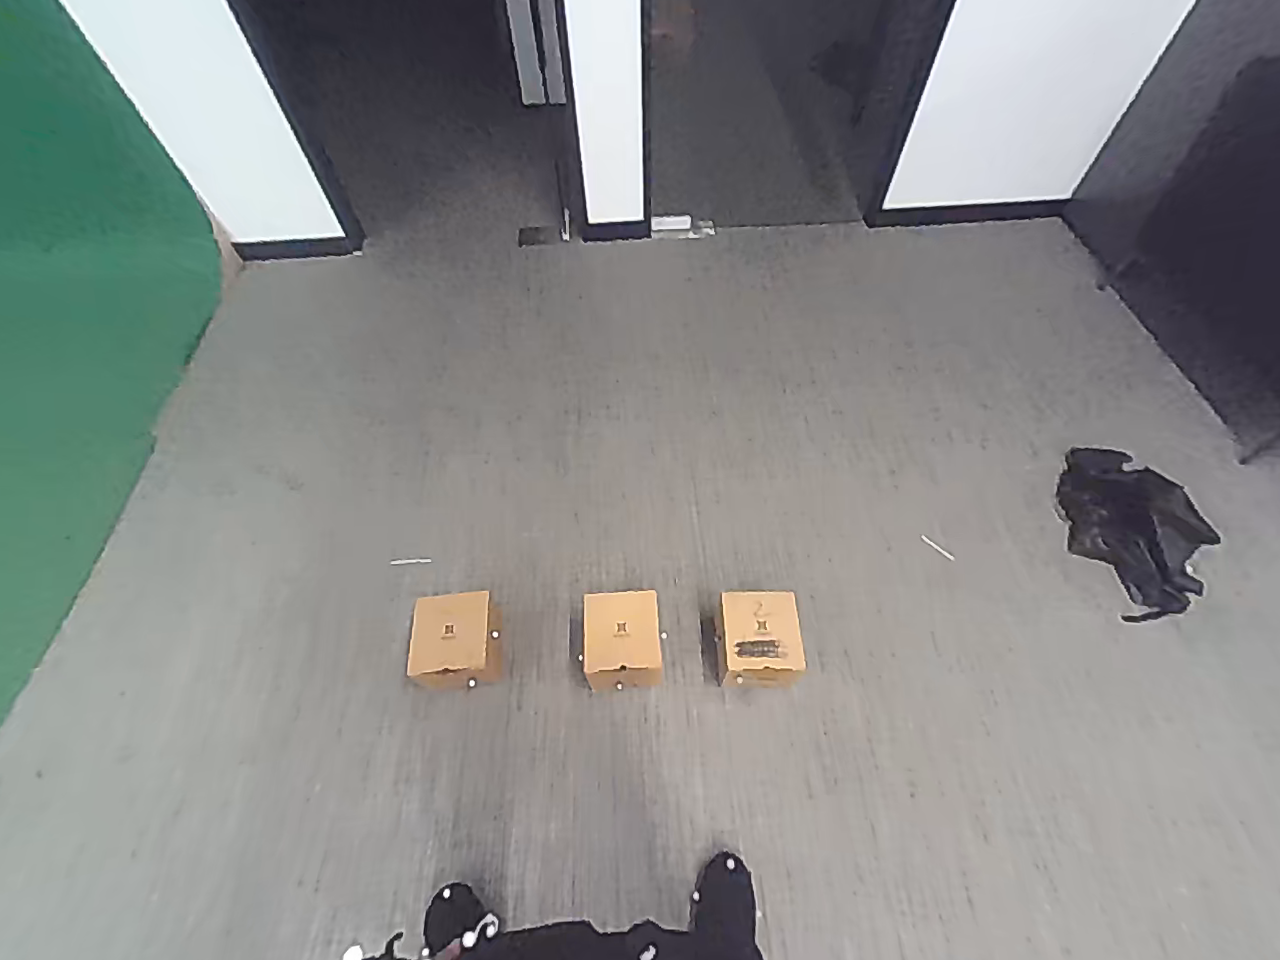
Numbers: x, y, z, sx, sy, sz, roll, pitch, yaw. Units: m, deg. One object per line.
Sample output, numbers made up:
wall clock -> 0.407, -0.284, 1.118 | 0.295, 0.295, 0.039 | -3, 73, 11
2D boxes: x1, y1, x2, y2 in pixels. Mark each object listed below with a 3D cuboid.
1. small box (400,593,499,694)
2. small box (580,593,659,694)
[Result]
small box -> -0.422, 0.377, 1.229 | 0.168, 0.176, 0.179 | -5, 55, -4
small box -> -0.047, 0.374, 1.227 | 0.168, 0.176, 0.179 | -3, 56, -2
